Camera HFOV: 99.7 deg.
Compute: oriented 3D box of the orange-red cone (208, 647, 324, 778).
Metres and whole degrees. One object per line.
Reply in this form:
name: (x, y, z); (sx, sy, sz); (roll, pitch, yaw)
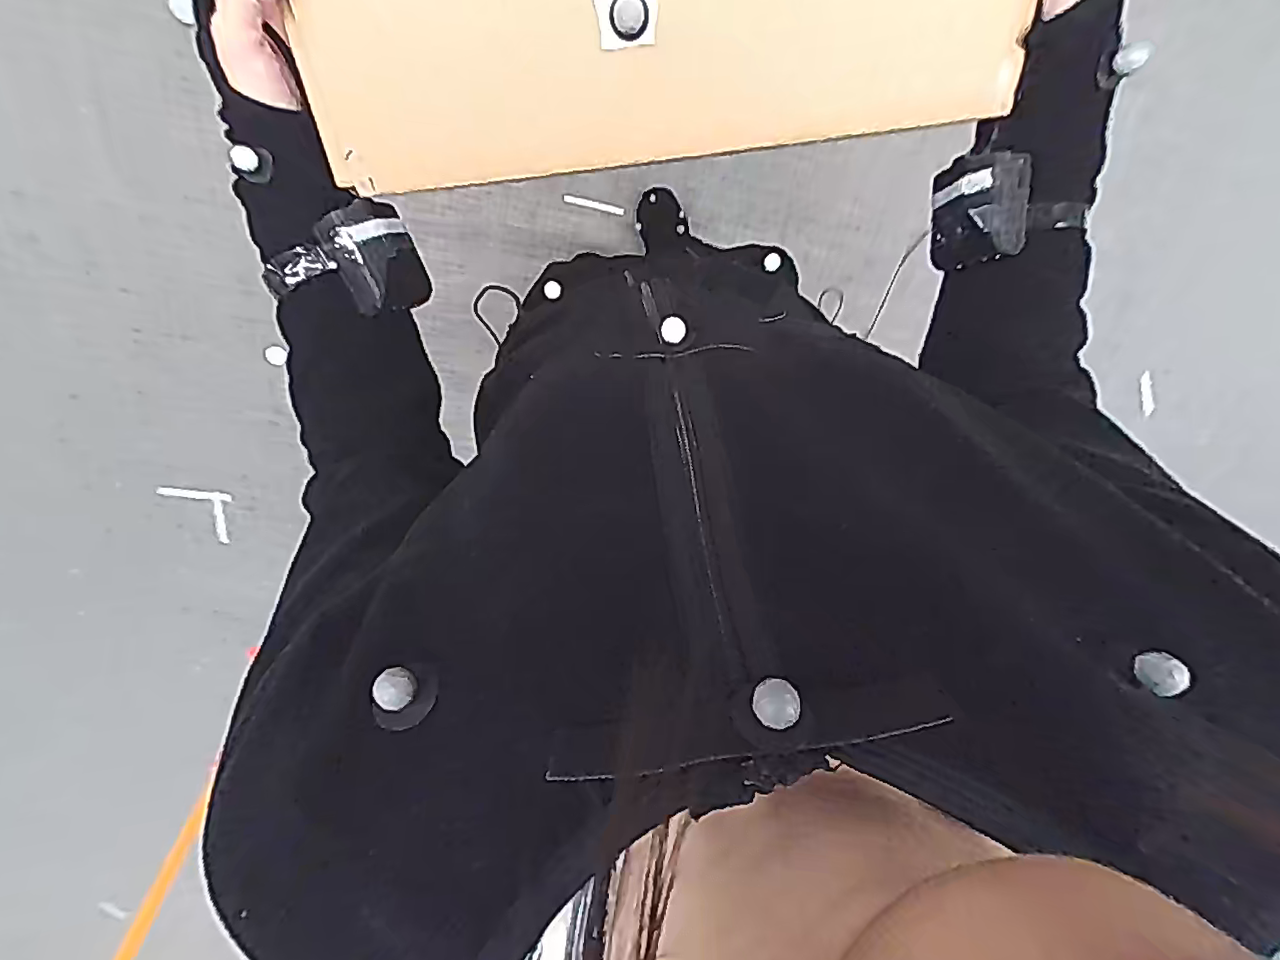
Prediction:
orange-red cone: (-1.087, 0.669, 1.526); (0.199, 0.360, 0.198); (1, 114, -4)
